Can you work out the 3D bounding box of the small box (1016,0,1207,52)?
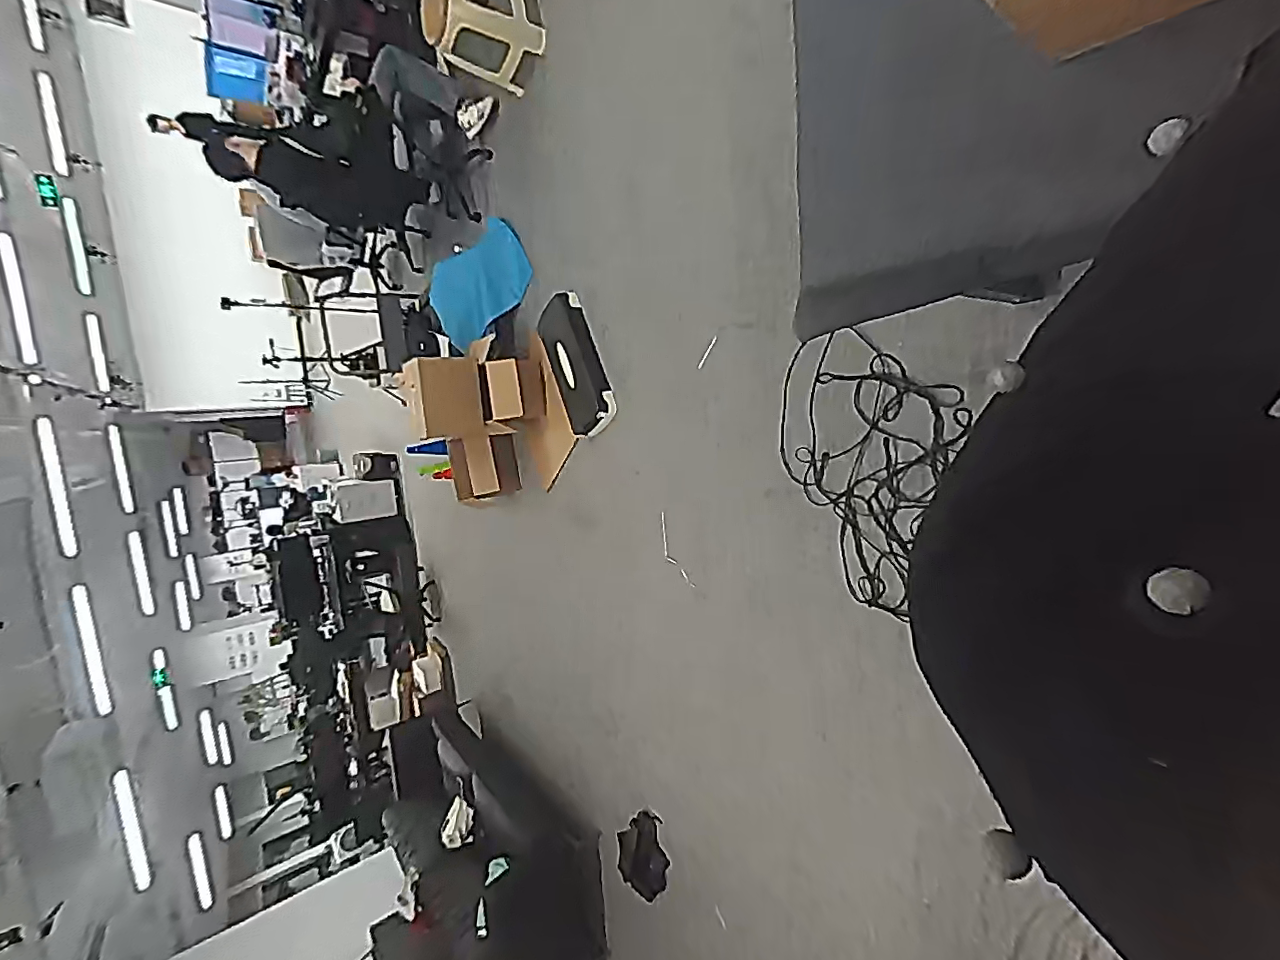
[{"bbox_3d":[0.391,-0.465,0.398,0.179,0.176,0.168,12,107,51],"label":"small box"}]
